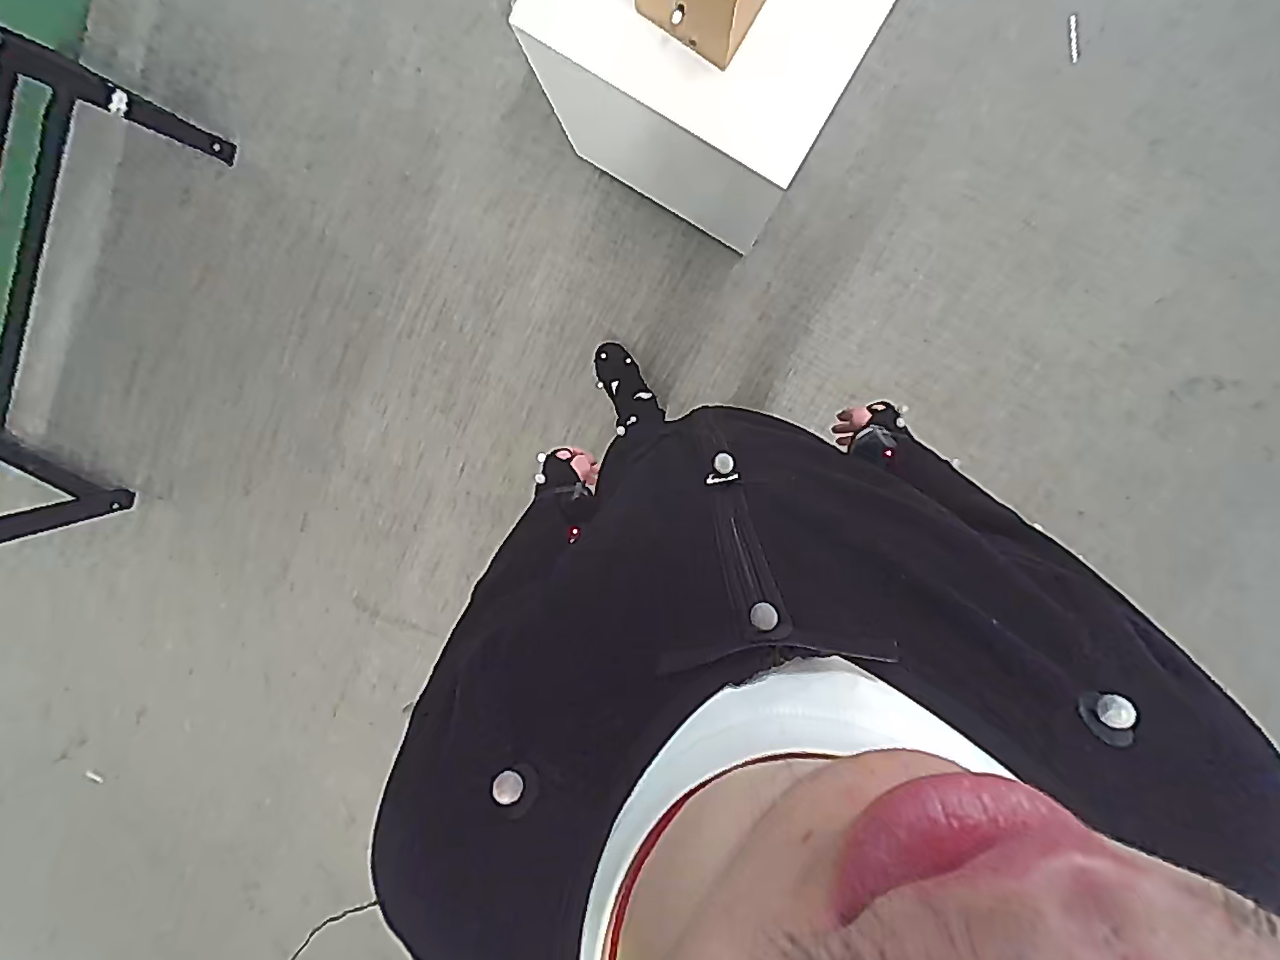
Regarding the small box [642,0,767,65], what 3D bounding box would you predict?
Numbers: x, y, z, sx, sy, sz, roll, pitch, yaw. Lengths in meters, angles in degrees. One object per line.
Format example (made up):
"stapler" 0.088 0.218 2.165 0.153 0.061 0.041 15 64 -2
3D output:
"small box" 0.104 -0.726 0.737 0.168 0.176 0.179 30 102 -2
